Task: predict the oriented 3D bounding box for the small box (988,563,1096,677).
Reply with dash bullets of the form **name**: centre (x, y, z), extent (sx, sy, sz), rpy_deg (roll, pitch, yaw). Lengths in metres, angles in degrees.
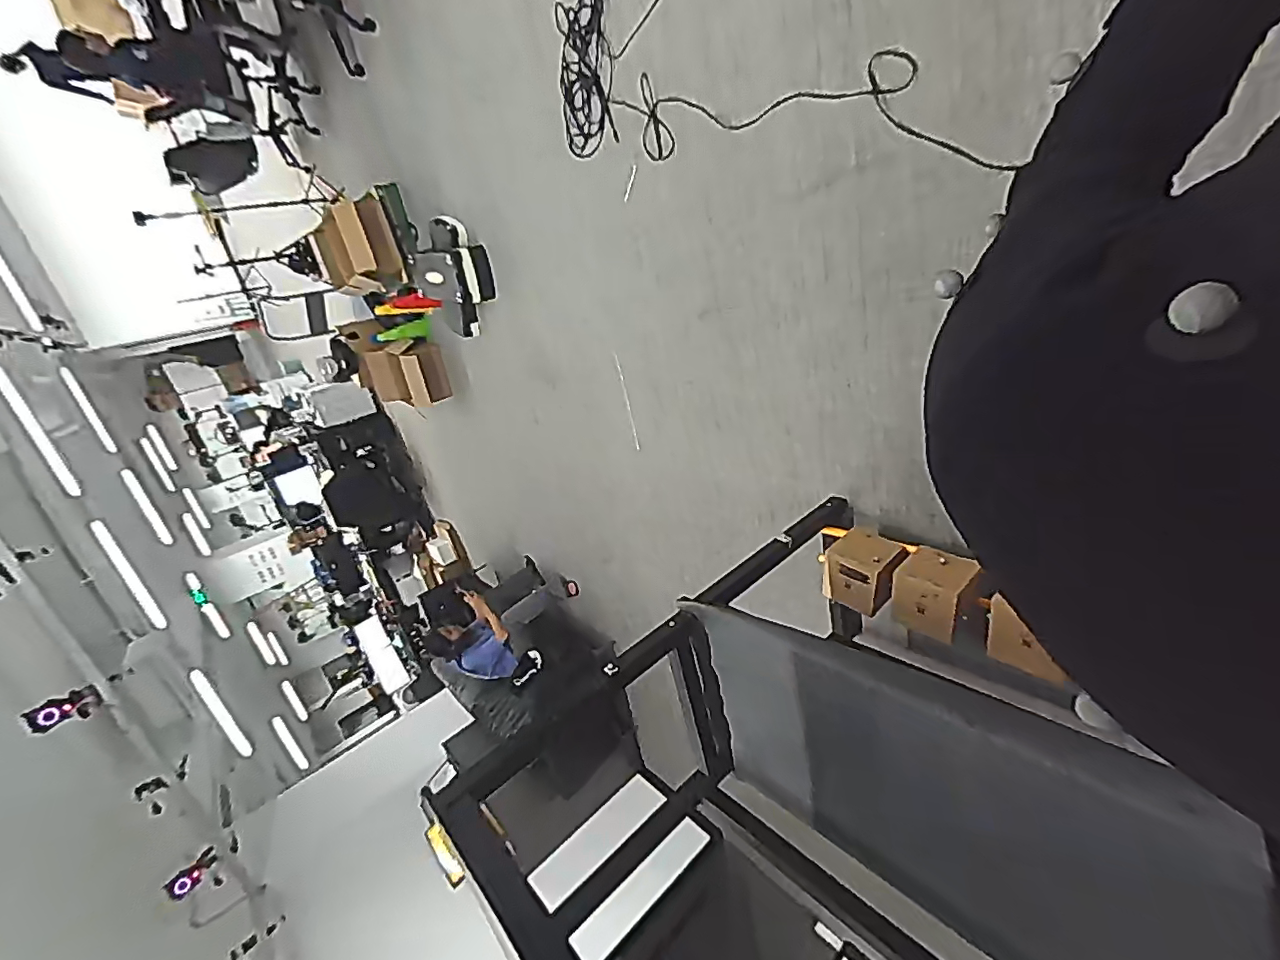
- **small box**: centre (0.976, 0.332, 1.316), extent (0.168, 0.176, 0.179), rpy_deg (17, 124, 49)
